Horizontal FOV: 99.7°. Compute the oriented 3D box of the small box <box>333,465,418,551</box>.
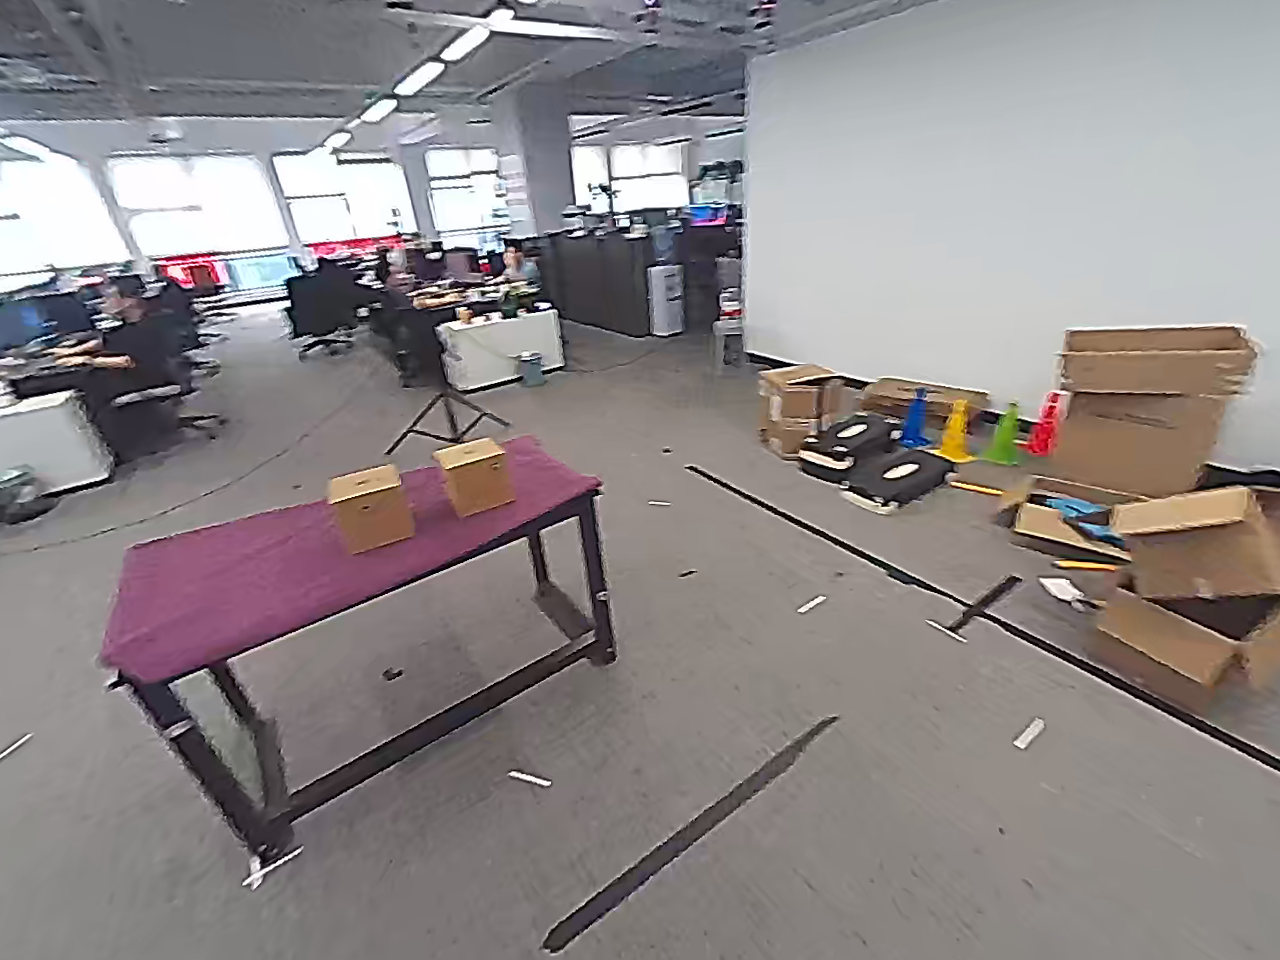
[{"bbox_3d":[-0.753,0.080,1.542,0.179,0.176,0.168,-17,30,-22],"label":"small box"}]

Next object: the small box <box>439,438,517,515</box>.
[{"bbox_3d":[-0.500,-0.010,1.676,0.179,0.176,0.168,-19,29,-26],"label":"small box"}]
